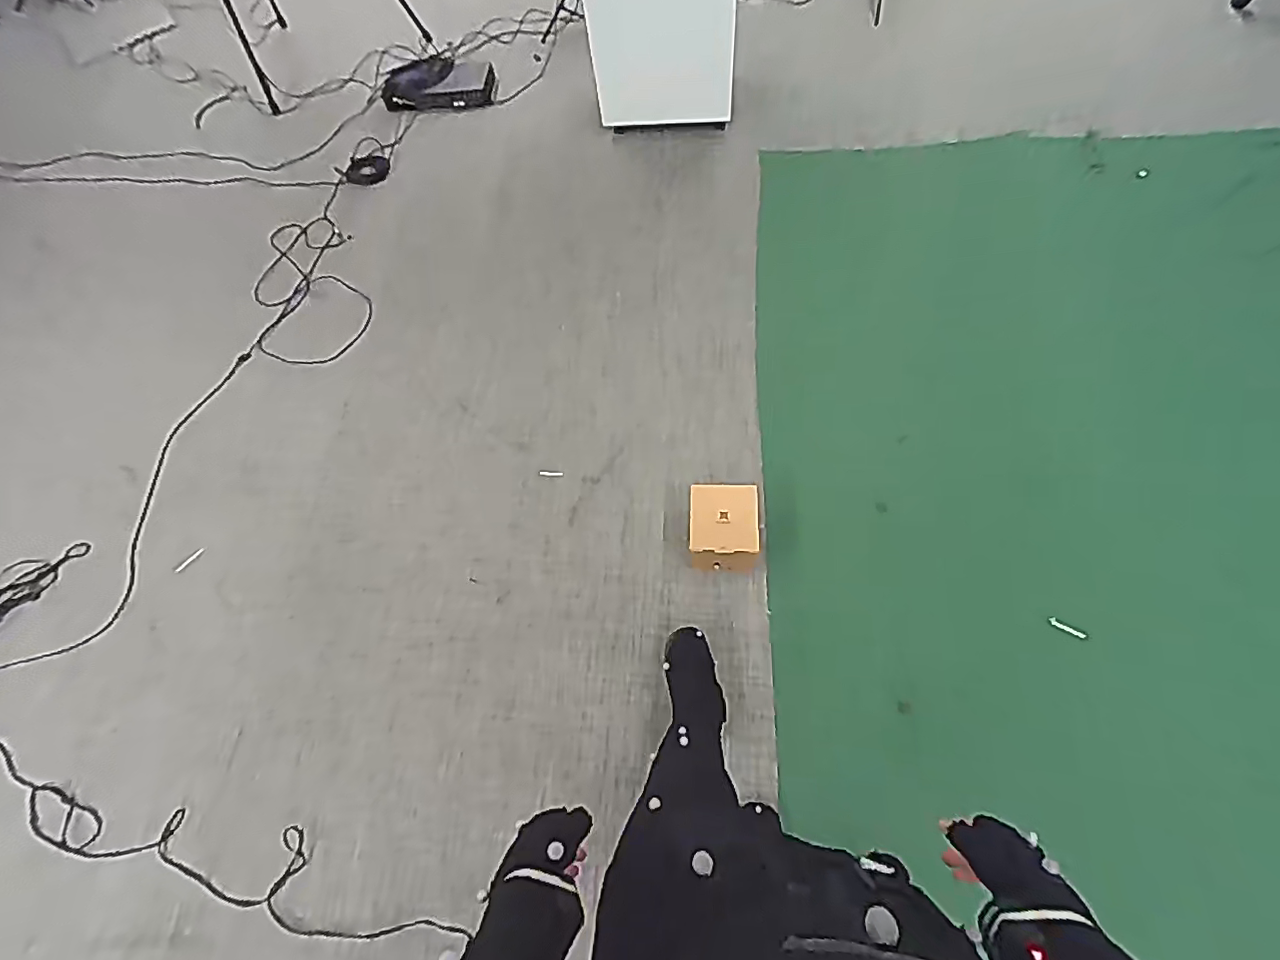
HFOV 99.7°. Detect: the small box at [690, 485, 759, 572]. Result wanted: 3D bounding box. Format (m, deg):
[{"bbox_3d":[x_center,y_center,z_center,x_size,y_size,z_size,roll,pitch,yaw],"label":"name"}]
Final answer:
[{"bbox_3d":[0.213,0.127,1.390,0.168,0.176,0.179,0,65,7],"label":"small box"}]
